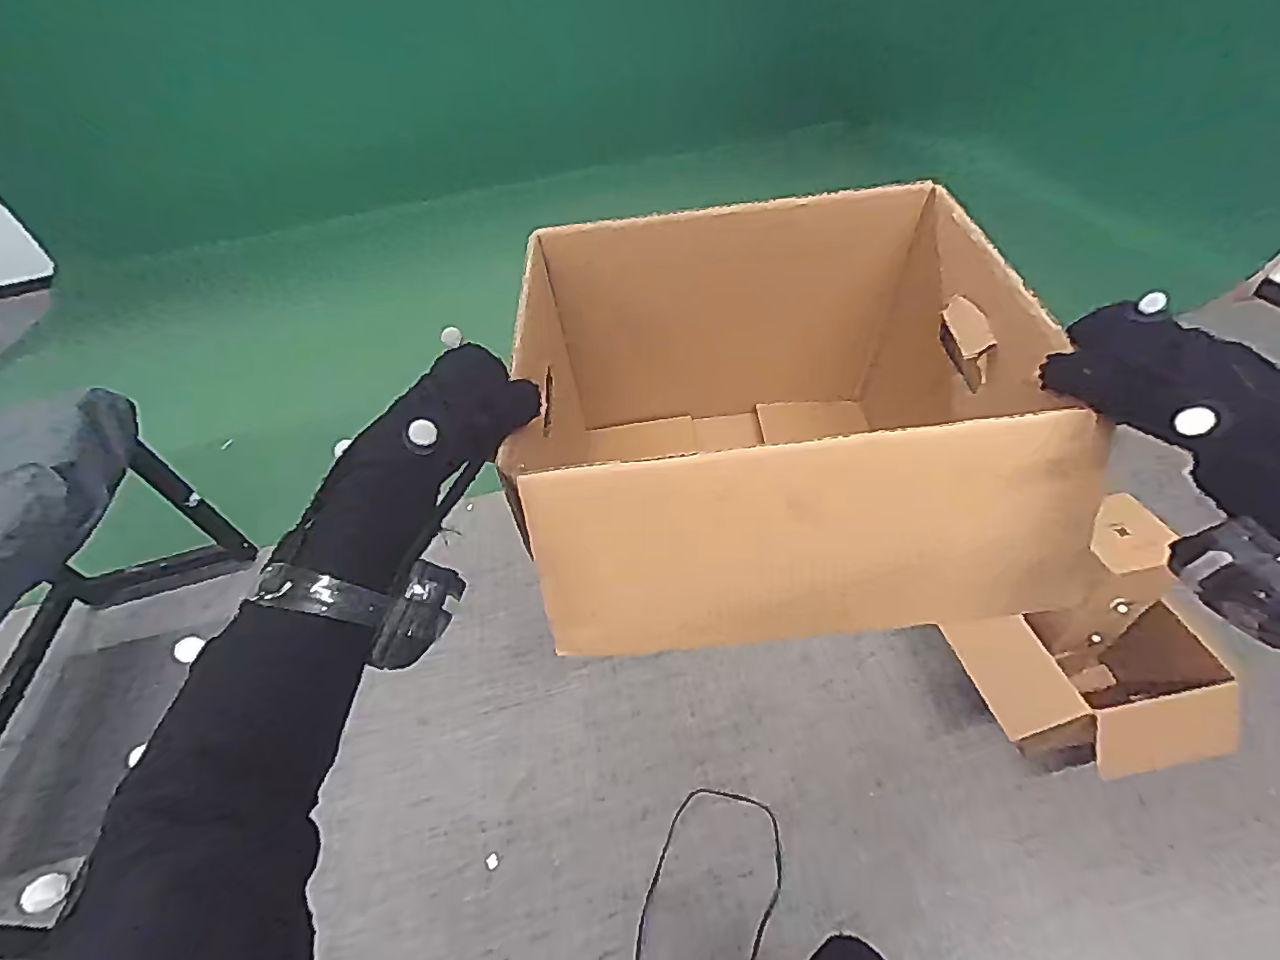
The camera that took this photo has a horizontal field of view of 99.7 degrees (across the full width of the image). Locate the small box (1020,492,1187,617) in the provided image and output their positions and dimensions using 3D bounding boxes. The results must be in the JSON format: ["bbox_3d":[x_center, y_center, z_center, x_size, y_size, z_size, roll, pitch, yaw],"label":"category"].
[{"bbox_3d":[0.950,0.157,1.133,0.168,0.176,0.179,-13,45,-2],"label":"small box"}]
